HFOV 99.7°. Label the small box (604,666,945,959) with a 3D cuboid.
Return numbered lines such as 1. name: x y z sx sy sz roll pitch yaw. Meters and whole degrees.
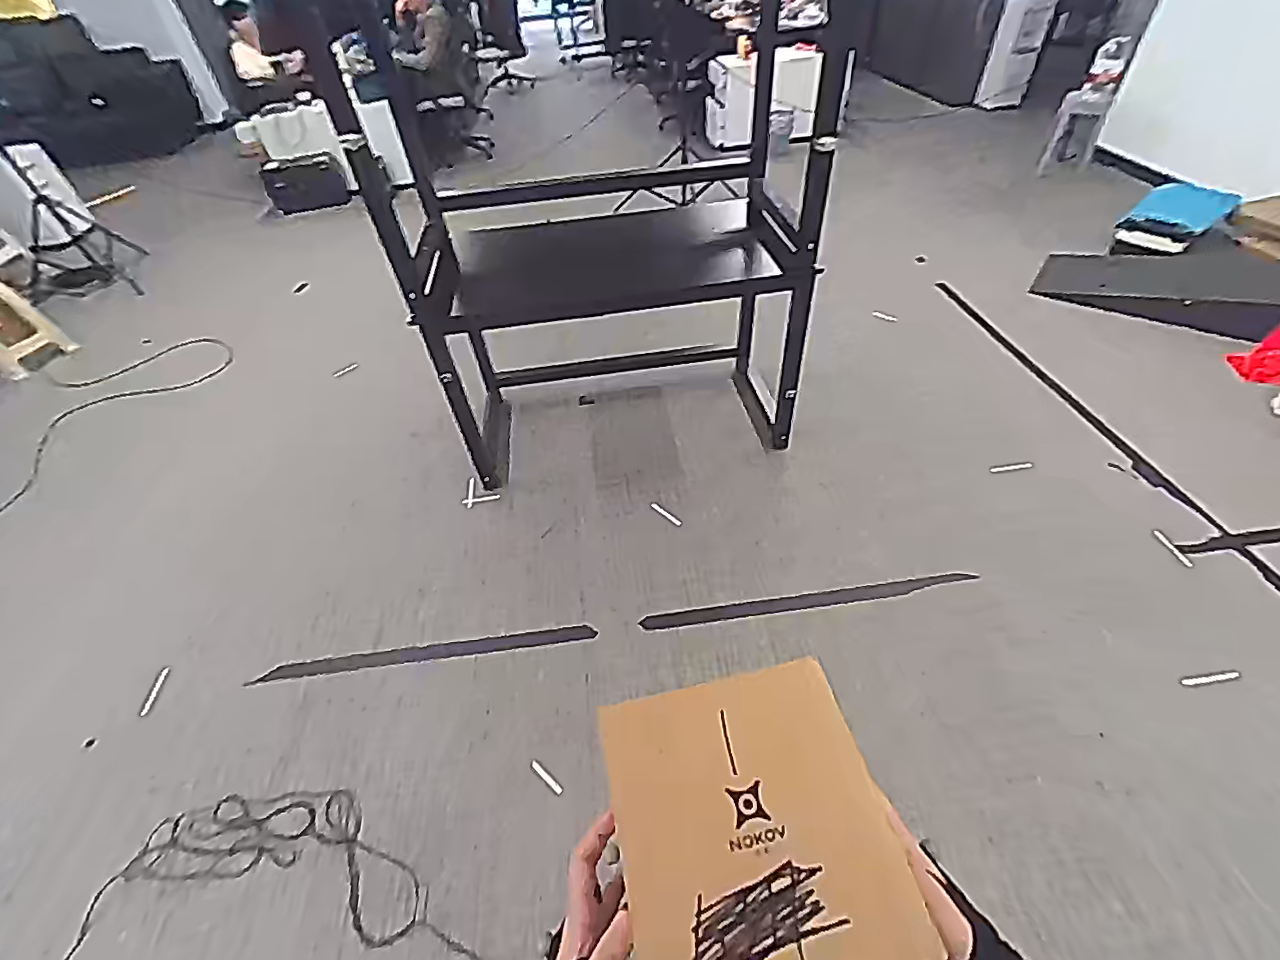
1. small box: 0.073 0.264 0.394 0.168 0.176 0.179 -10 51 -6
